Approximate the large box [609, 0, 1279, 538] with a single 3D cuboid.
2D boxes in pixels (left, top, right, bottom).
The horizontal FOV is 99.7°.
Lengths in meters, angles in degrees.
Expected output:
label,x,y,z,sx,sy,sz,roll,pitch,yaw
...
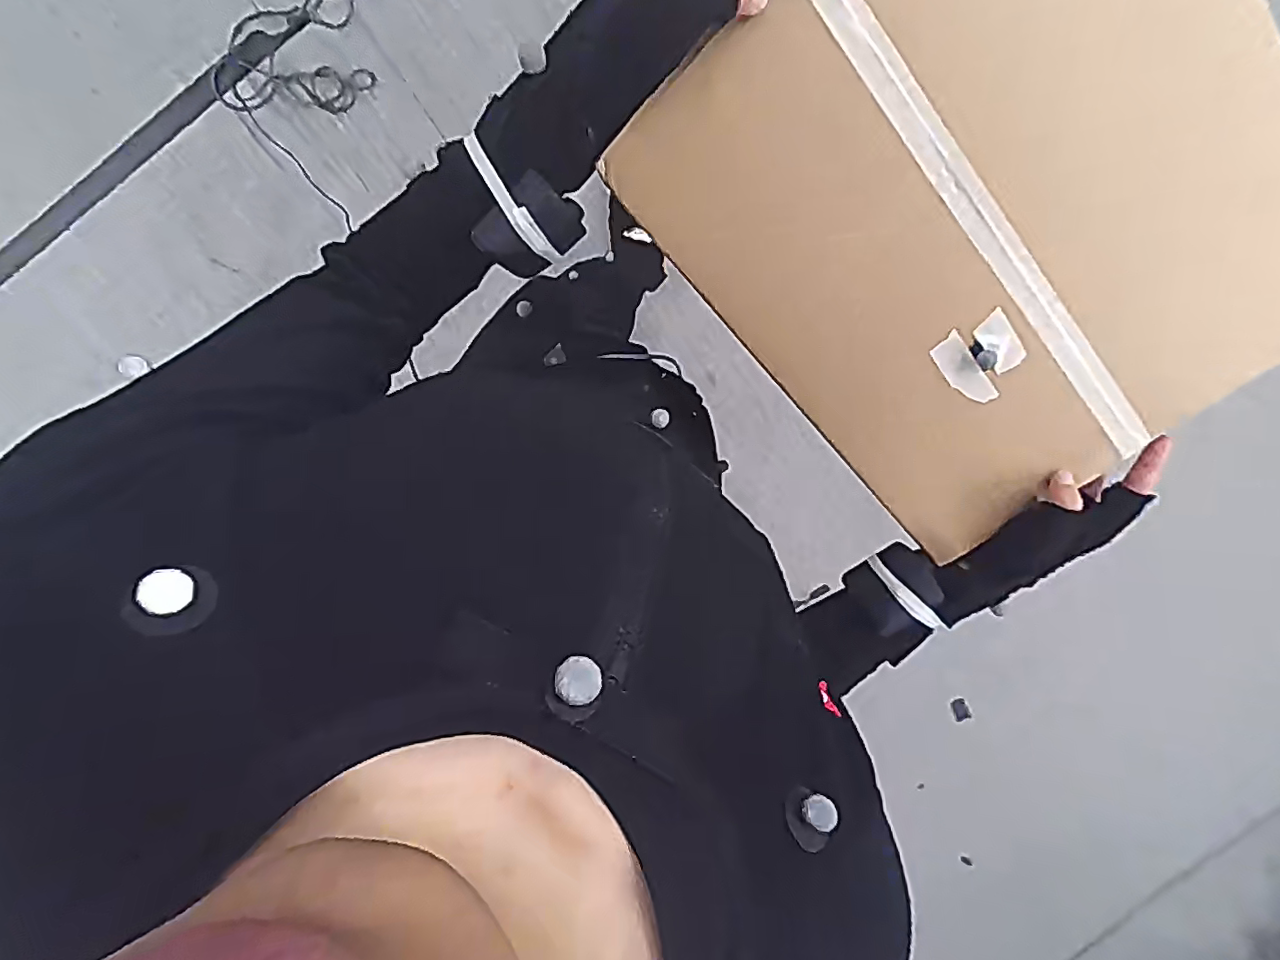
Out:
label,x,y,z,sx,sy,sz,roll,pitch,yaw
large box,0.232,-0.235,0.487,0.320,0.320,0.408,-39,107,22
